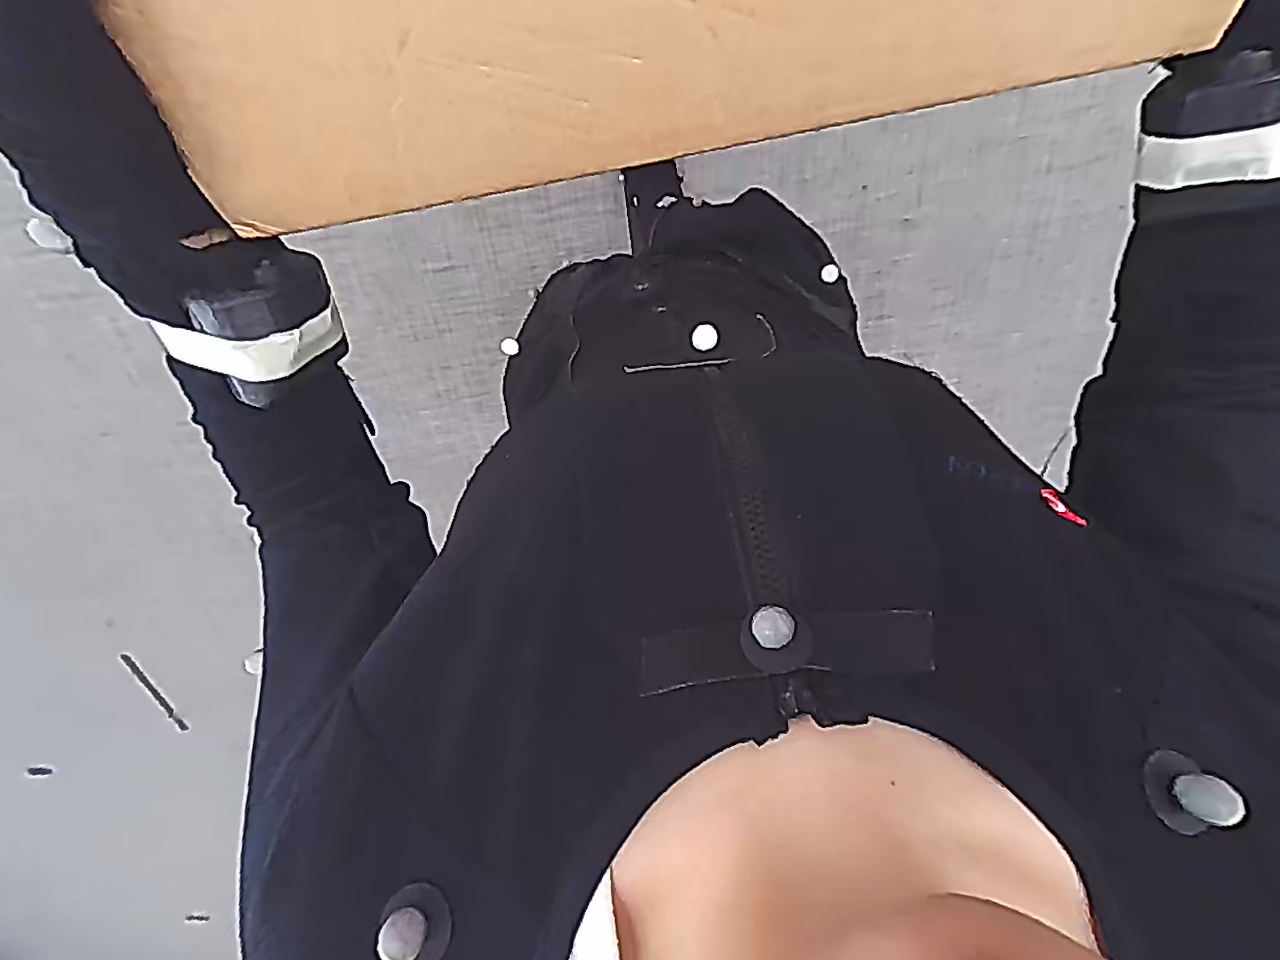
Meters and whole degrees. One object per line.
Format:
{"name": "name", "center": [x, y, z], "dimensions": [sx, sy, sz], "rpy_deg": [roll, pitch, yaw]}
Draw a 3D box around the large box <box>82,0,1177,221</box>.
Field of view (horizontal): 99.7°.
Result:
{"name": "large box", "center": [-0.016, -0.357, 0.207], "dimensions": [0.408, 0.320, 0.320], "rpy_deg": [-9, 140, 3]}
